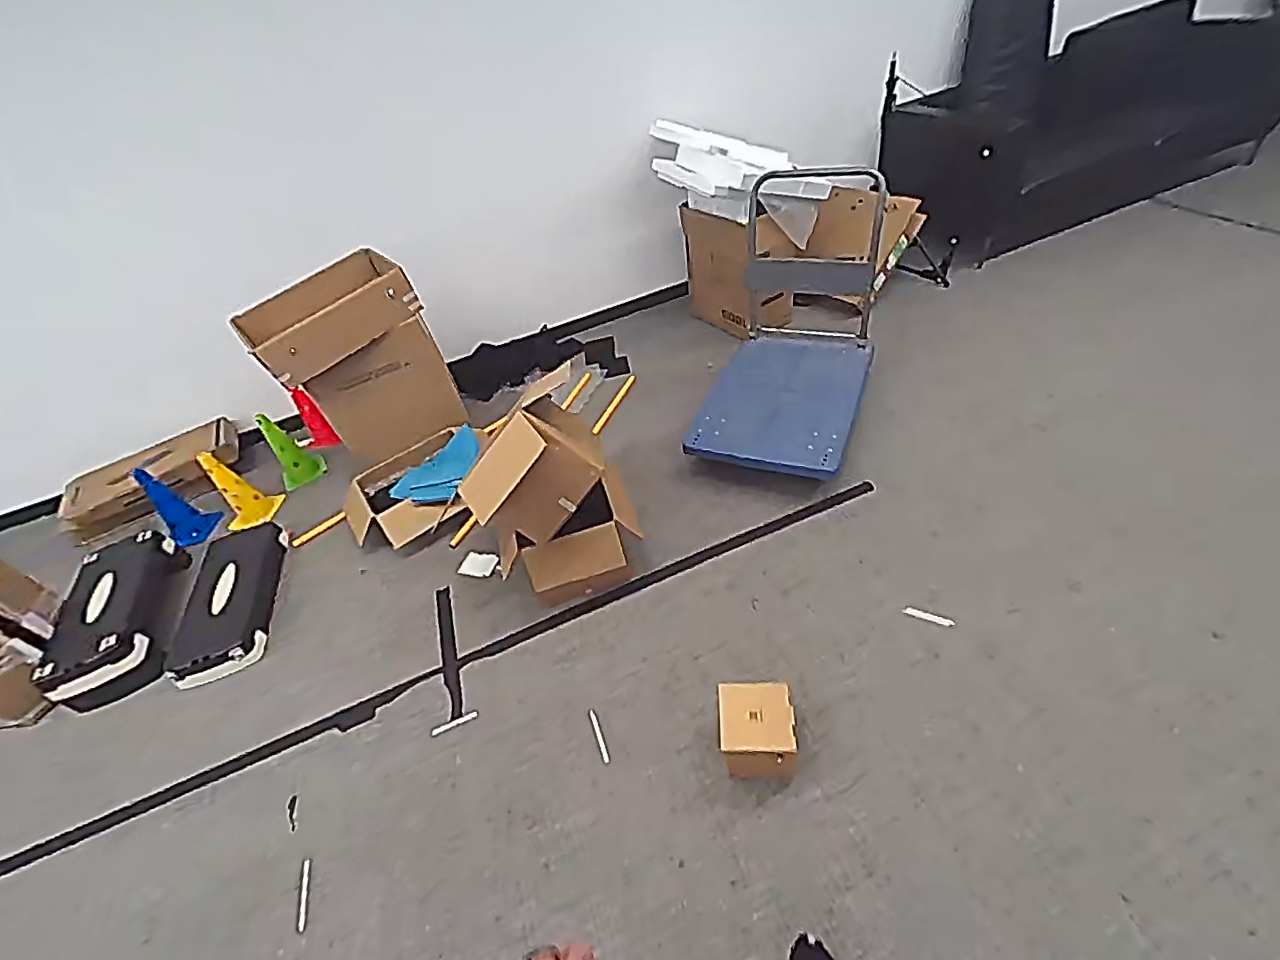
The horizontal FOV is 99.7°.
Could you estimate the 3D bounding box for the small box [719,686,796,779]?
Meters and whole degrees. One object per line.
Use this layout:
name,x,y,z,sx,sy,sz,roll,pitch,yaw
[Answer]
small box,0.295,0.639,1.363,0.179,0.176,0.168,-4,42,9
